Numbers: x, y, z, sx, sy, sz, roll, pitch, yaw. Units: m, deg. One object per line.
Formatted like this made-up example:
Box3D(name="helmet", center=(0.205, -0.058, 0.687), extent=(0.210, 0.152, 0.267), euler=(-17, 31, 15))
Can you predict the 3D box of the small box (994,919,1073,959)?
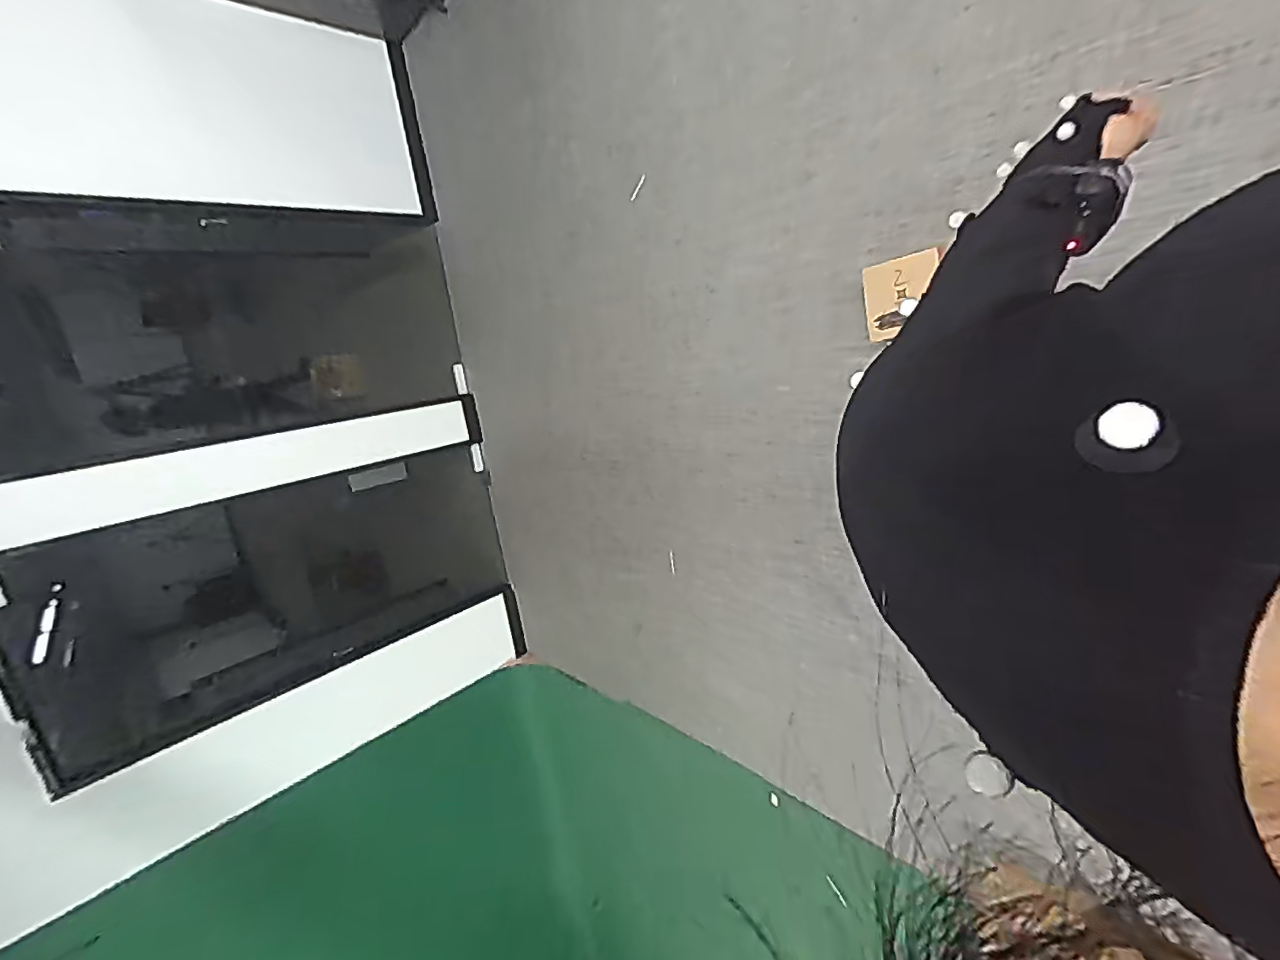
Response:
Box3D(name="small box", center=(1.054, 1.358, 1.457), extent=(0.168, 0.176, 0.179), euler=(15, 115, 42))
